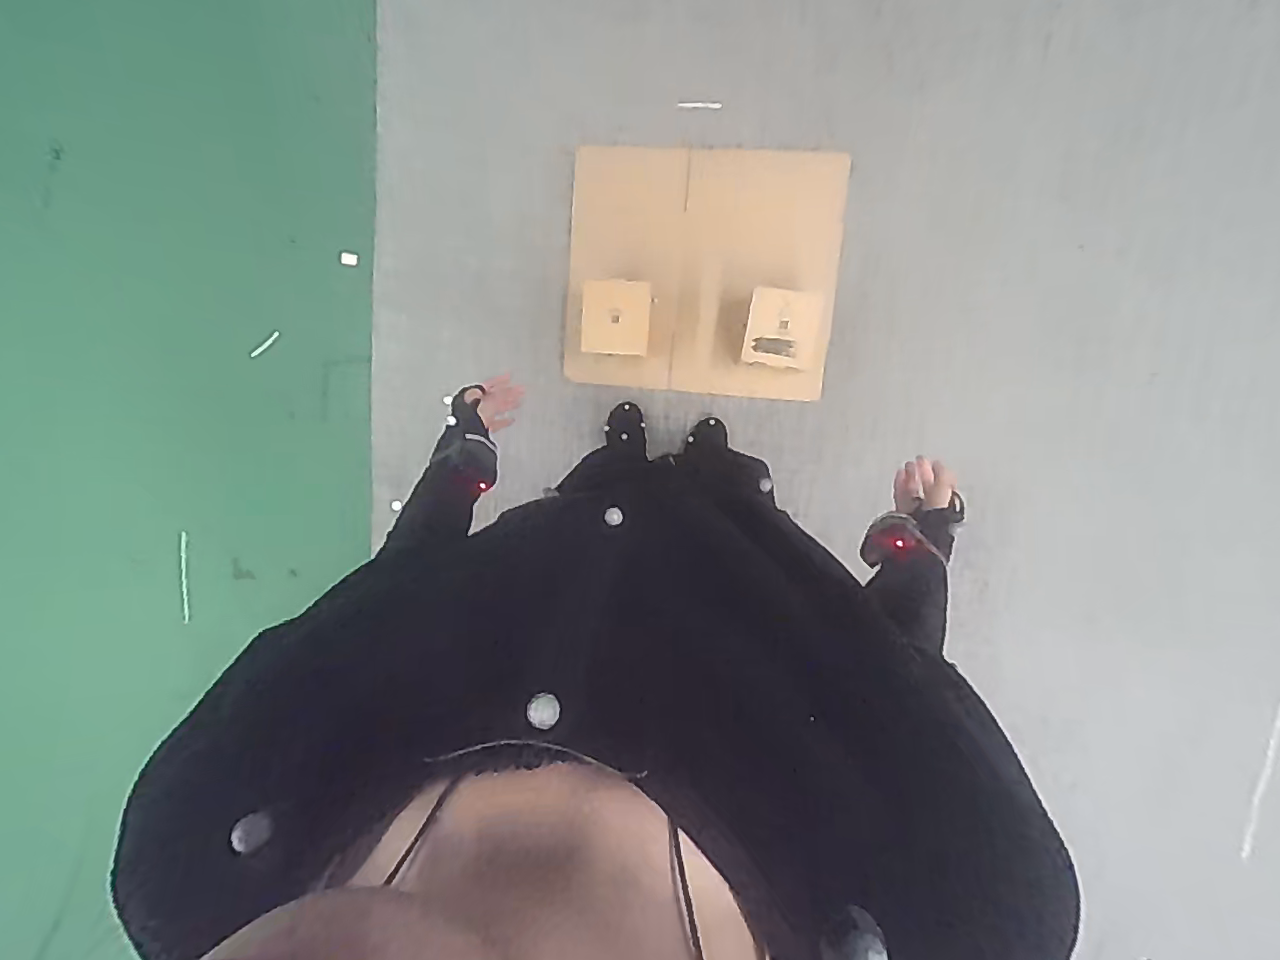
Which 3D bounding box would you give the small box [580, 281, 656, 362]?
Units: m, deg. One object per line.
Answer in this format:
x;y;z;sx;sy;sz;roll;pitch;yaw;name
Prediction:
-0.051;-0.394;1.367;0.168;0.176;0.179;4;98;6;small box
